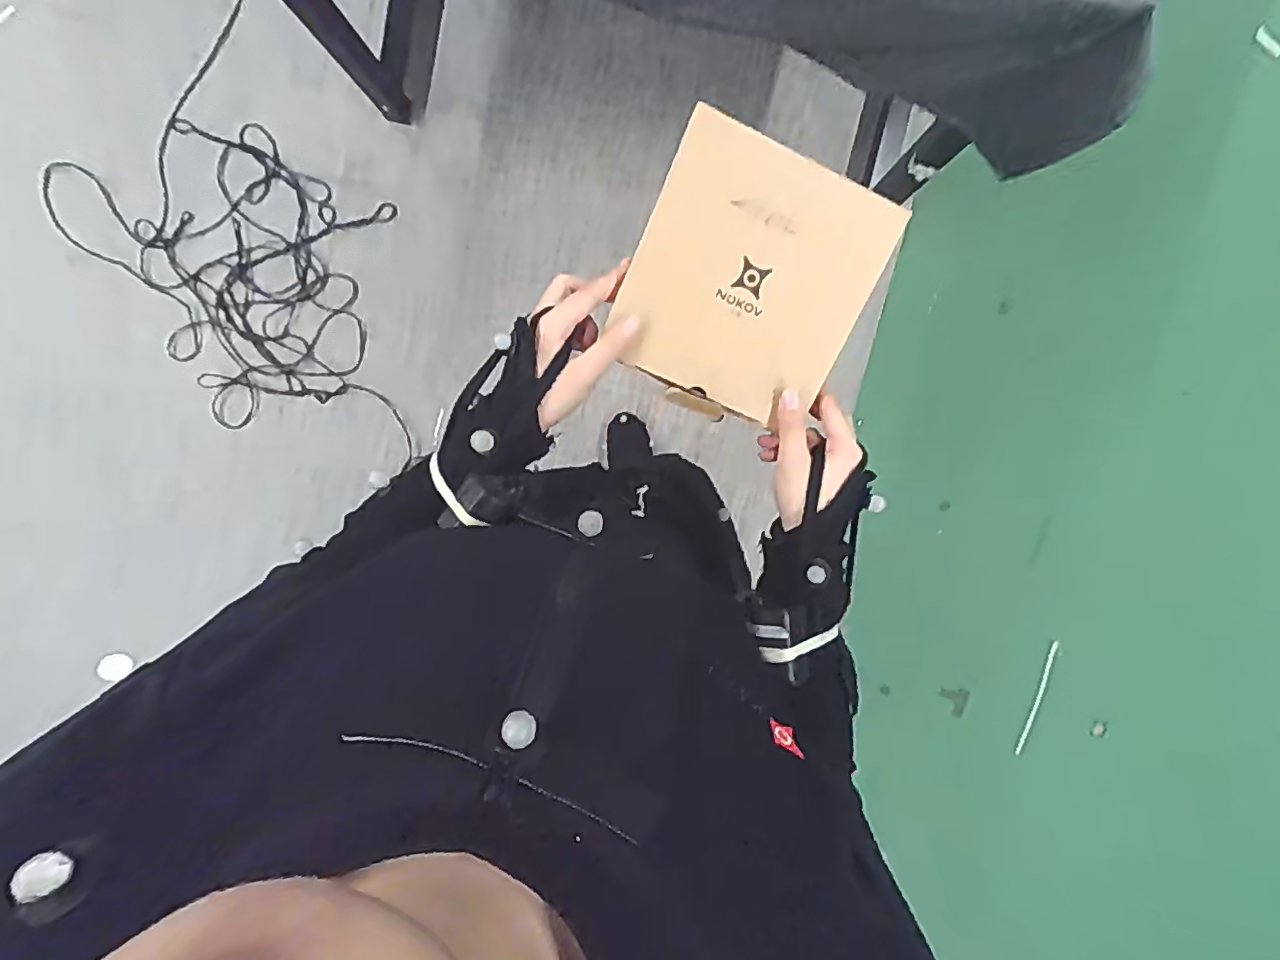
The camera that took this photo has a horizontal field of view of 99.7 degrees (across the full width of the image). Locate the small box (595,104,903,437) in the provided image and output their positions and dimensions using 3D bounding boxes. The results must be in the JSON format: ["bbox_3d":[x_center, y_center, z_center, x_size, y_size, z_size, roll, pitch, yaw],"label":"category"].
[{"bbox_3d":[0.073,-0.157,0.457,0.168,0.176,0.179,23,101,-8],"label":"small box"}]
